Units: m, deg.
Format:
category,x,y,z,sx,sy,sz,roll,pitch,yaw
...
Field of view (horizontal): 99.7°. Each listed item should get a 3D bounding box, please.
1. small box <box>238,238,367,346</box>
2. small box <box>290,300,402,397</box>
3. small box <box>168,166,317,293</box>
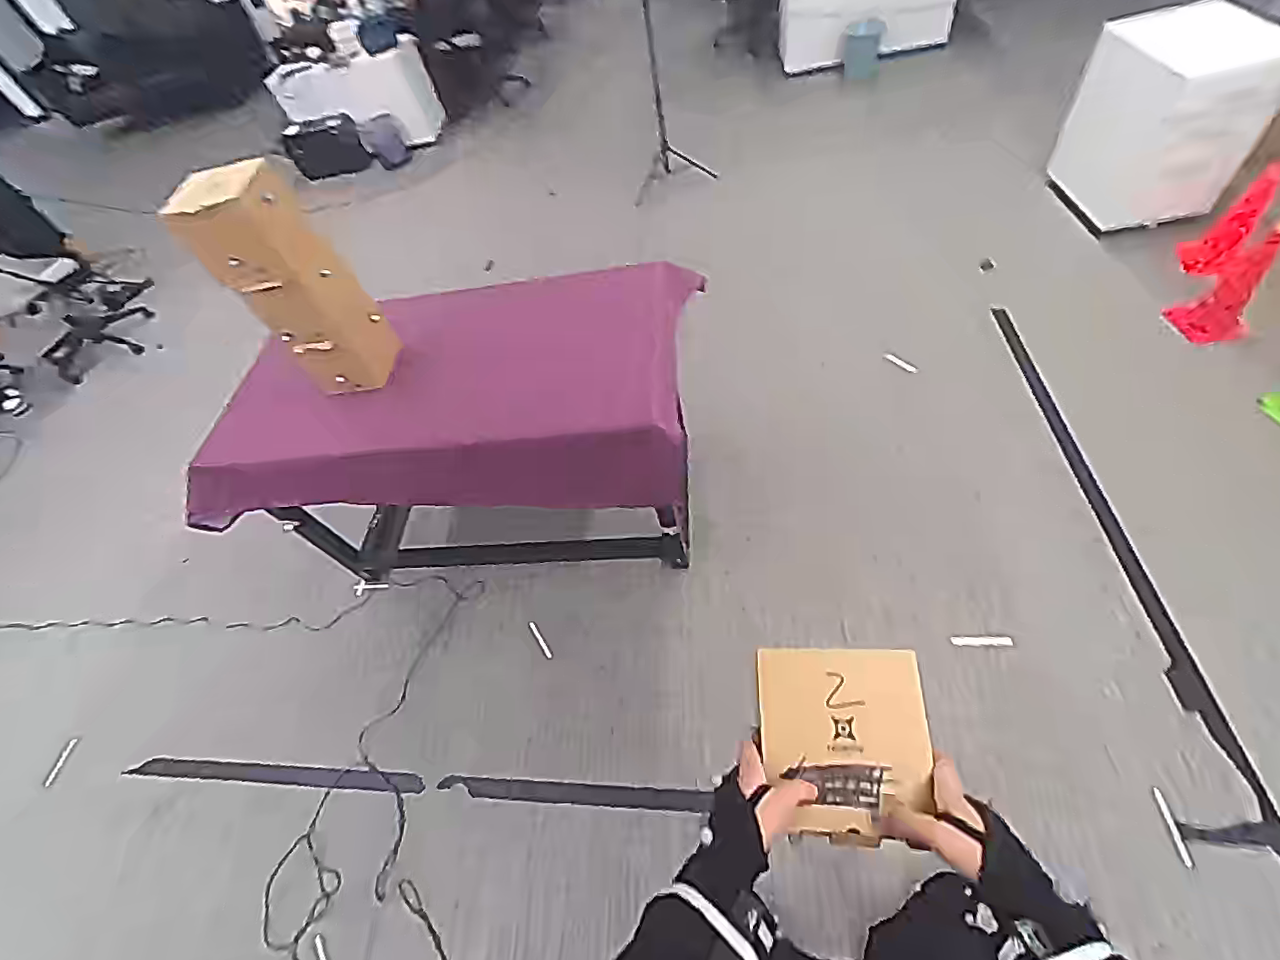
category,x,y,z,sx,sy,sz,roll,pitch,yaw
small box,-0.780,-0.433,1.274,0.168,0.176,0.179,-7,53,8
small box,-0.748,-0.338,1.404,0.168,0.176,0.179,-4,54,11
small box,-0.825,-0.528,1.148,0.168,0.176,0.179,-11,54,5
